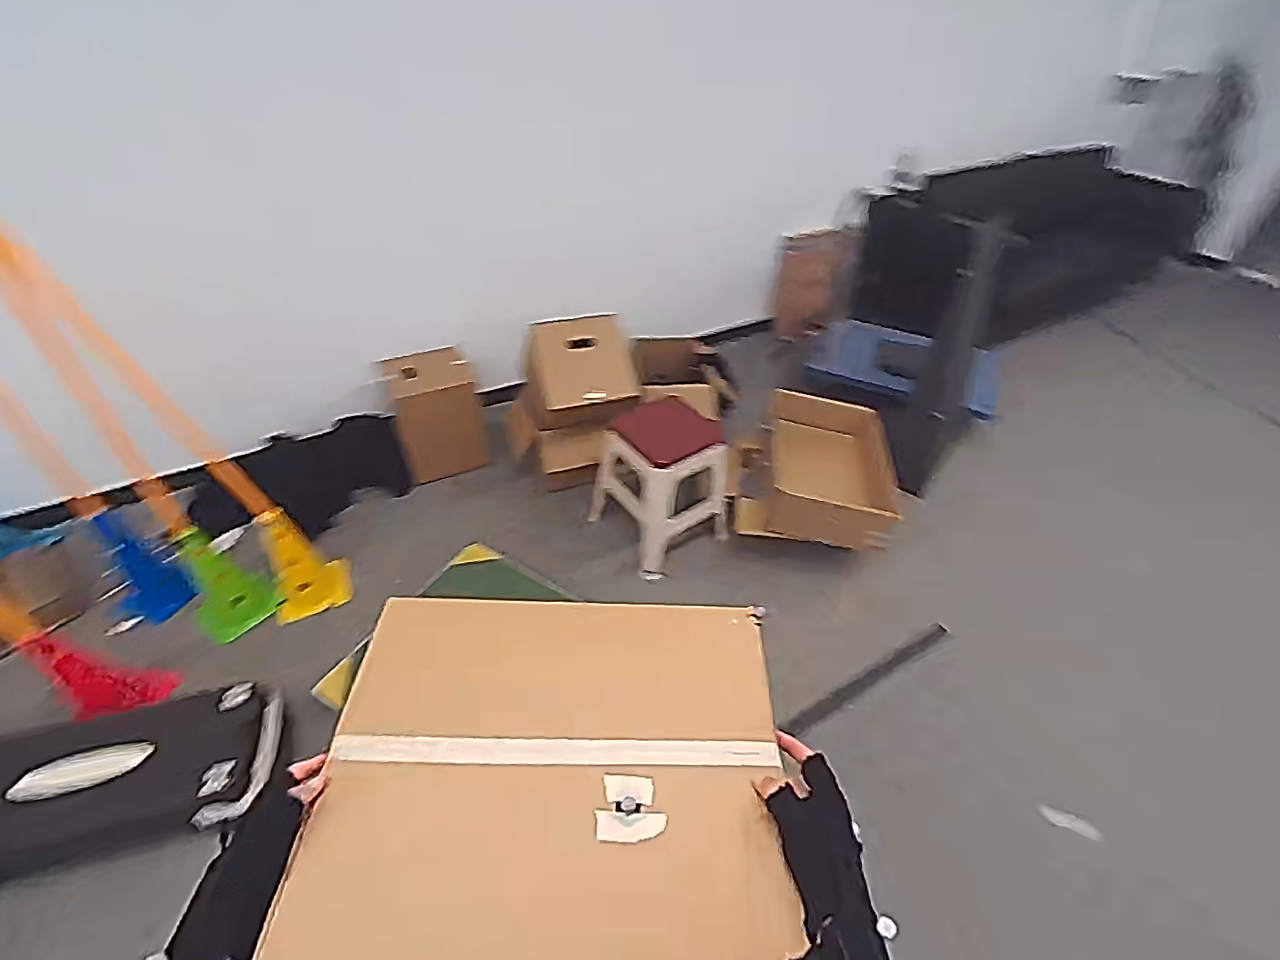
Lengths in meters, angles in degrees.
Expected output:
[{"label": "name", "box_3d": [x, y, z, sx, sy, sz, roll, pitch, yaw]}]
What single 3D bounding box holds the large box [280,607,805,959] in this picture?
[{"label": "large box", "box_3d": [-0.077, 0.364, 0.613, 0.408, 0.320, 0.320, 3, 46, -1]}]
